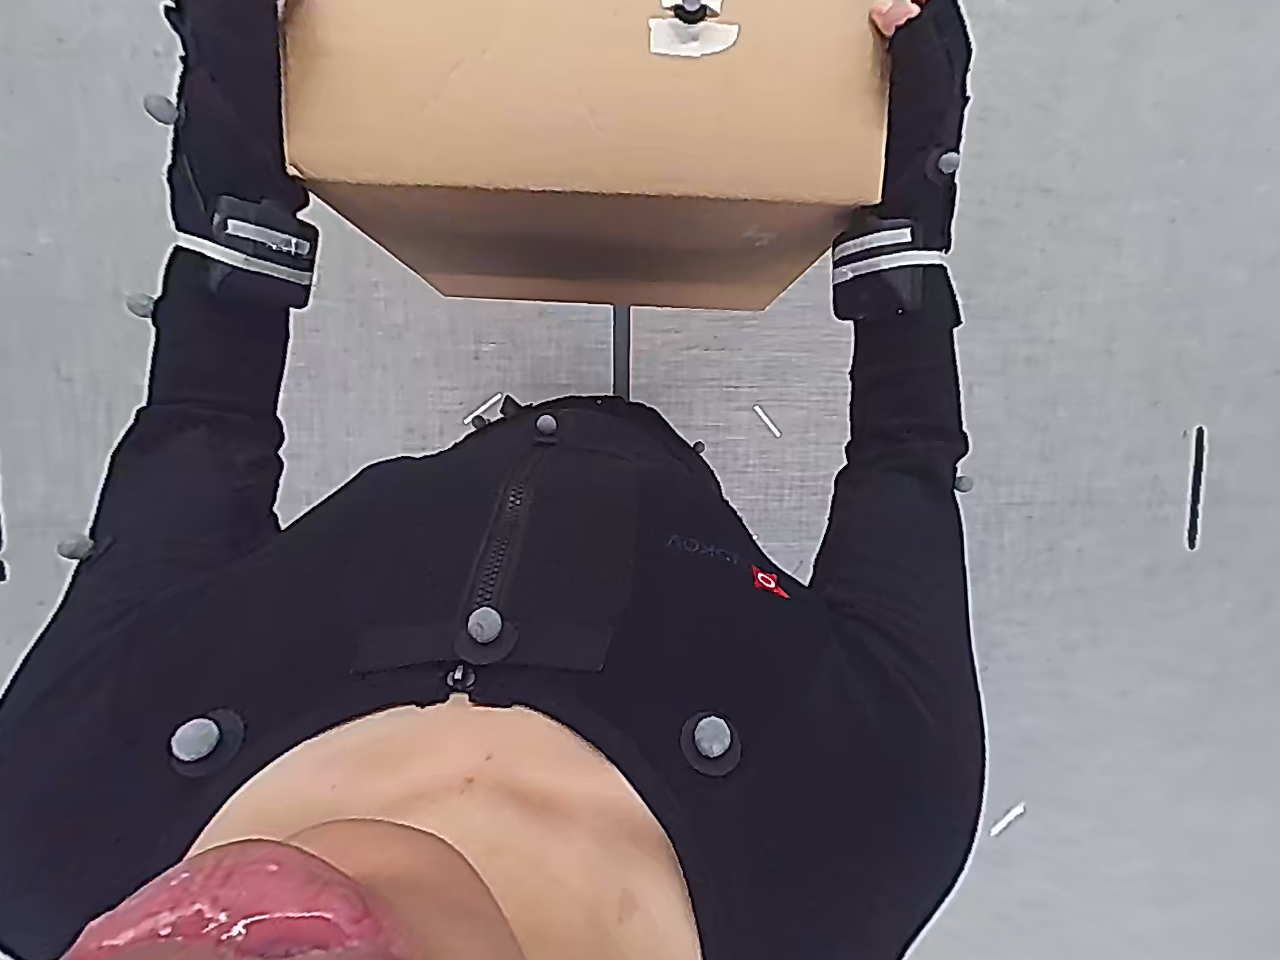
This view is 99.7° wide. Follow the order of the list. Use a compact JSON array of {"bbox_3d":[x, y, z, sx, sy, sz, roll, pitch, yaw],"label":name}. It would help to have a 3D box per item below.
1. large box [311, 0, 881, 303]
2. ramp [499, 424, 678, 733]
[{"bbox_3d":[-0.033,-0.368,0.523,0.408,0.320,0.320,2,94,-2],"label":"large box"},{"bbox_3d":[-0.131,0.328,1.608,0.509,0.206,0.991,-3,97,-3],"label":"ramp"}]
